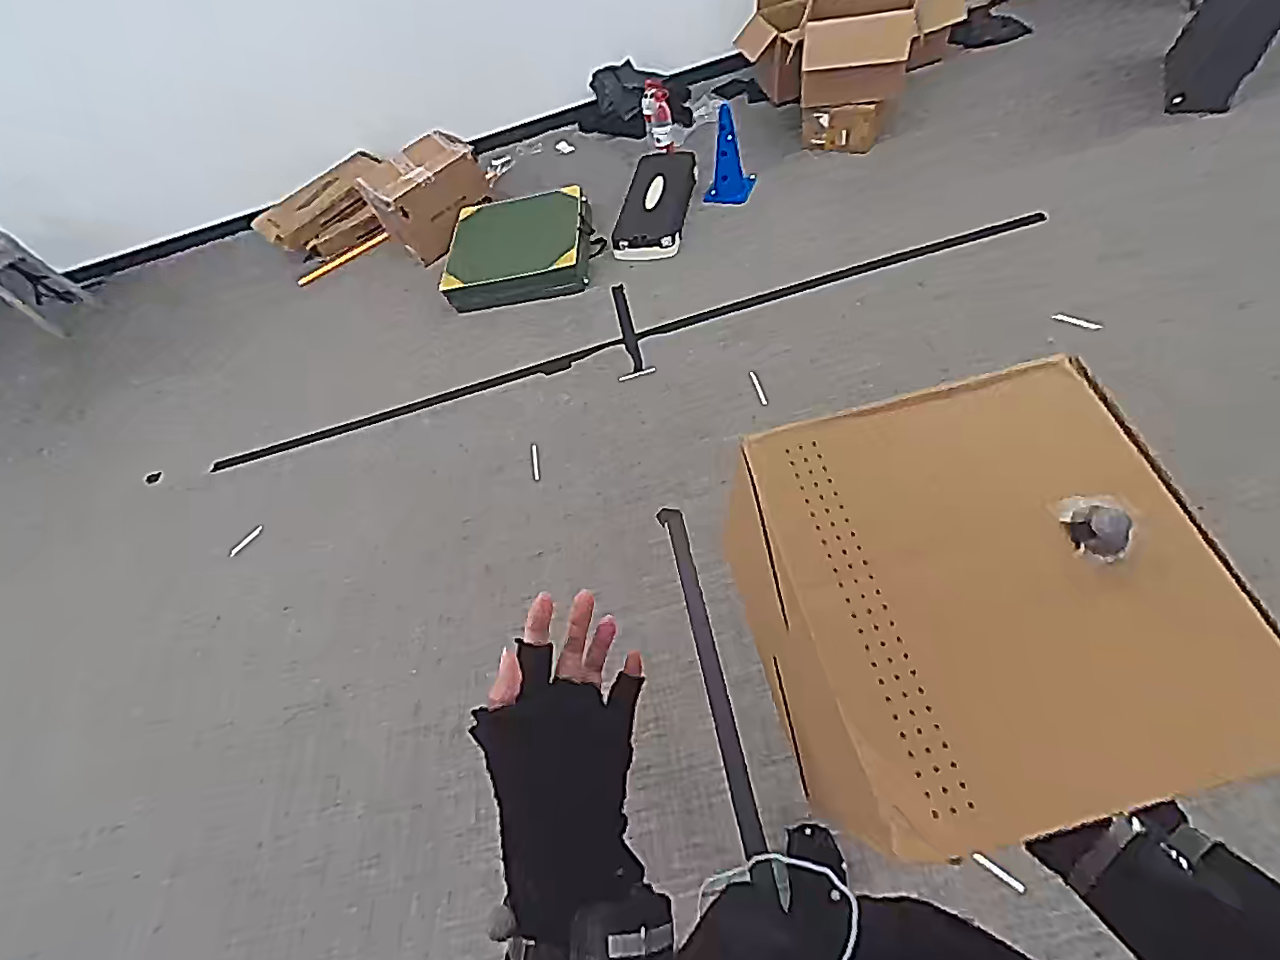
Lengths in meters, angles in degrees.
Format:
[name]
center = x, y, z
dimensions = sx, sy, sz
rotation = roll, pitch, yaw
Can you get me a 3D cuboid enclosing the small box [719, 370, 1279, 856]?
[small box]
center = 0.146, 0.073, 0.302
dimensions = 0.176, 0.168, 0.179
rotation = -16, 65, 0
